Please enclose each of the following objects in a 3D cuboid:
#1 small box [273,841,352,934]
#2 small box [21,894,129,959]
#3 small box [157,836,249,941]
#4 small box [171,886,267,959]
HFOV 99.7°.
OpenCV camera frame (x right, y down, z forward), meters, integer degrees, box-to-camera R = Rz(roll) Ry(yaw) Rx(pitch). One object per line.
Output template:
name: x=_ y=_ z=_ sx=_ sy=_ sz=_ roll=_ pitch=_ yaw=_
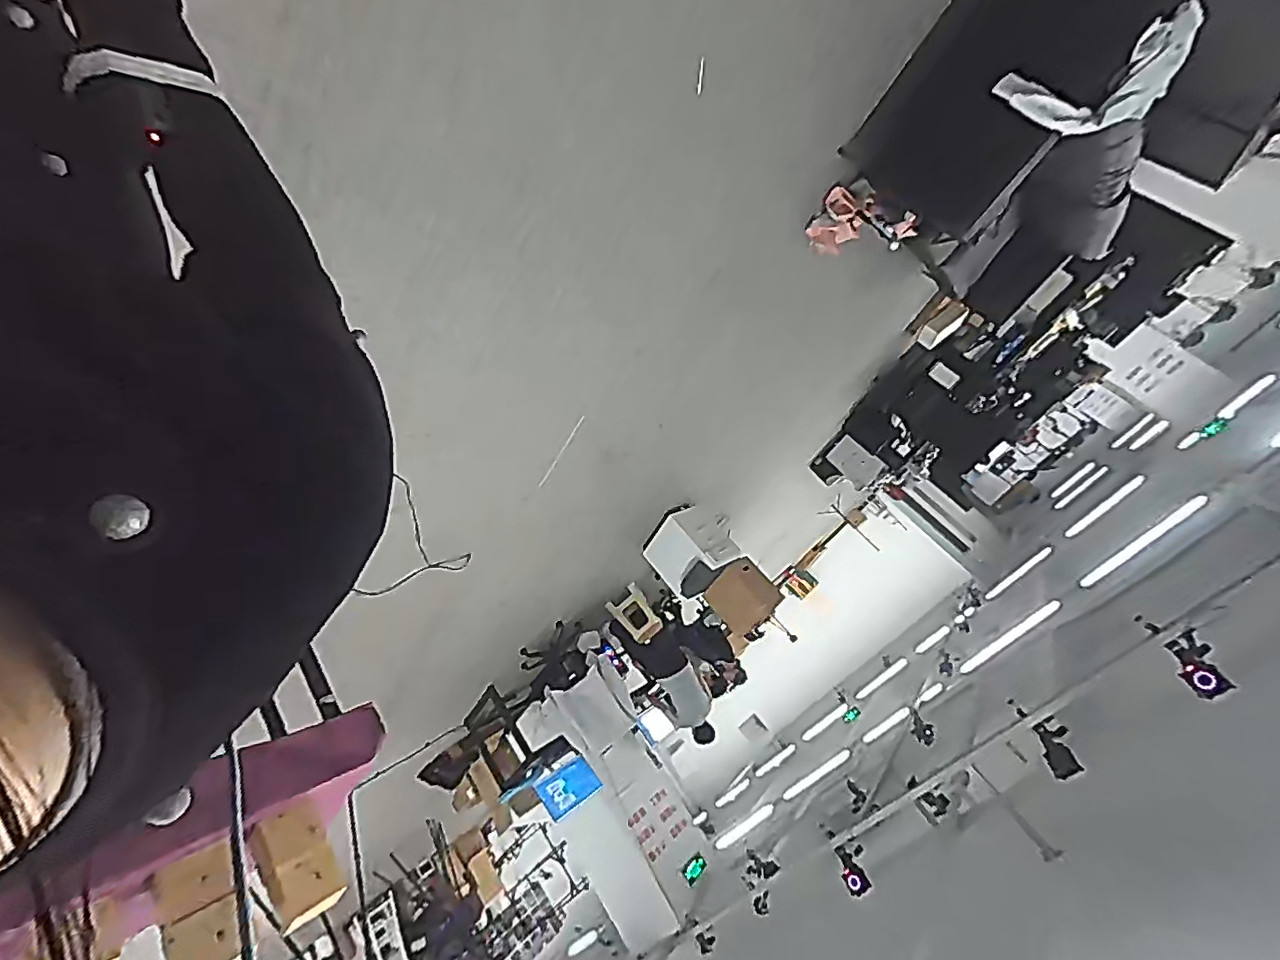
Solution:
small box: x=-1.102 y=1.358 z=1.813 sx=0.168 sy=0.176 sz=0.179 roll=-8 pitch=142 yaw=-51
small box: x=-1.513 y=1.264 z=1.444 sx=0.179 sy=0.176 sz=0.168 roll=-50 pitch=155 yaw=21
small box: x=-1.349 y=1.250 z=1.667 sx=0.179 sy=0.176 sz=0.168 roll=-5 pitch=138 yaw=-53
small box: x=-1.249 y=1.362 z=1.598 sx=0.179 sy=0.176 sz=0.168 roll=-4 pitch=138 yaw=-54
